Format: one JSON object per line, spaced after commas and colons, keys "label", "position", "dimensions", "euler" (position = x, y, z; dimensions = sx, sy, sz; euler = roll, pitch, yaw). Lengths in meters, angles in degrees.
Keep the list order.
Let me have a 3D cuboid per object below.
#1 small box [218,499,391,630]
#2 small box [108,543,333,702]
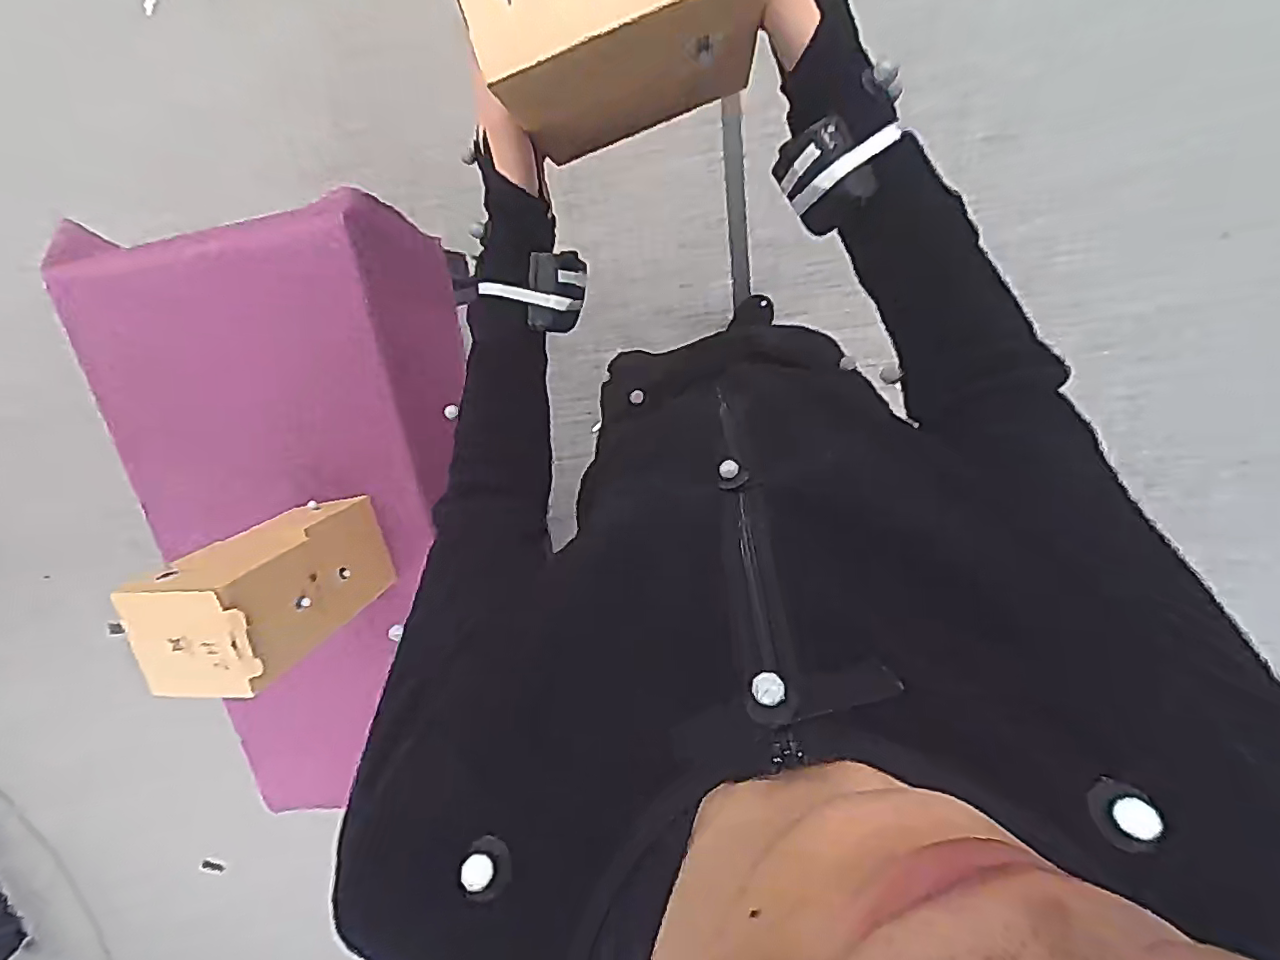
{"label": "small box", "position": [-0.573, 0.151, 0.952], "dimensions": [0.168, 0.176, 0.179], "euler": [-9, 105, 11]}
{"label": "small box", "position": [-0.601, 0.201, 0.797], "dimensions": [0.179, 0.176, 0.168], "euler": [-3, 107, 10]}
